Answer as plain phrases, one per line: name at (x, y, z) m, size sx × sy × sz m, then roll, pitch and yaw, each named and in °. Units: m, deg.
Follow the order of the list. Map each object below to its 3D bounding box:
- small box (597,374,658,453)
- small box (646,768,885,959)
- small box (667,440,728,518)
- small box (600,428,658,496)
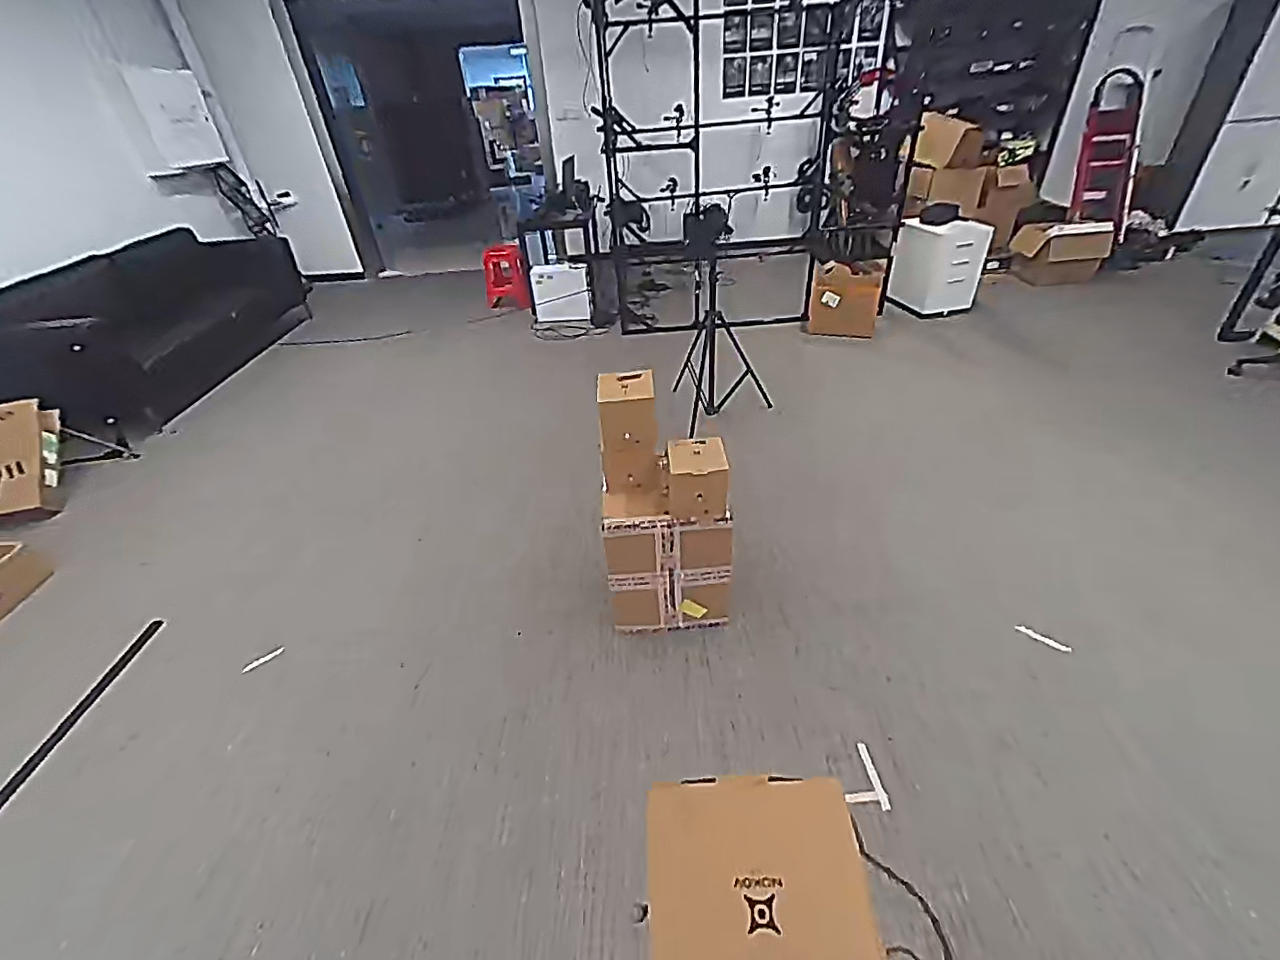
small box at (-0.036, -0.202, 1.634) m, size 0.168 × 0.176 × 0.179 m, roll -6°, pitch 38°, yaw 2°
small box at (0.088, 0.365, 0.449) m, size 0.168 × 0.176 × 0.179 m, roll -2°, pitch 42°, yaw 1°
small box at (0.168, 0.001, 1.613) m, size 0.168 × 0.176 × 0.179 m, roll -3°, pitch 38°, yaw 1°
small box at (-0.037, -0.072, 1.737) m, size 0.168 × 0.176 × 0.179 m, roll -8°, pitch 38°, yaw -1°
